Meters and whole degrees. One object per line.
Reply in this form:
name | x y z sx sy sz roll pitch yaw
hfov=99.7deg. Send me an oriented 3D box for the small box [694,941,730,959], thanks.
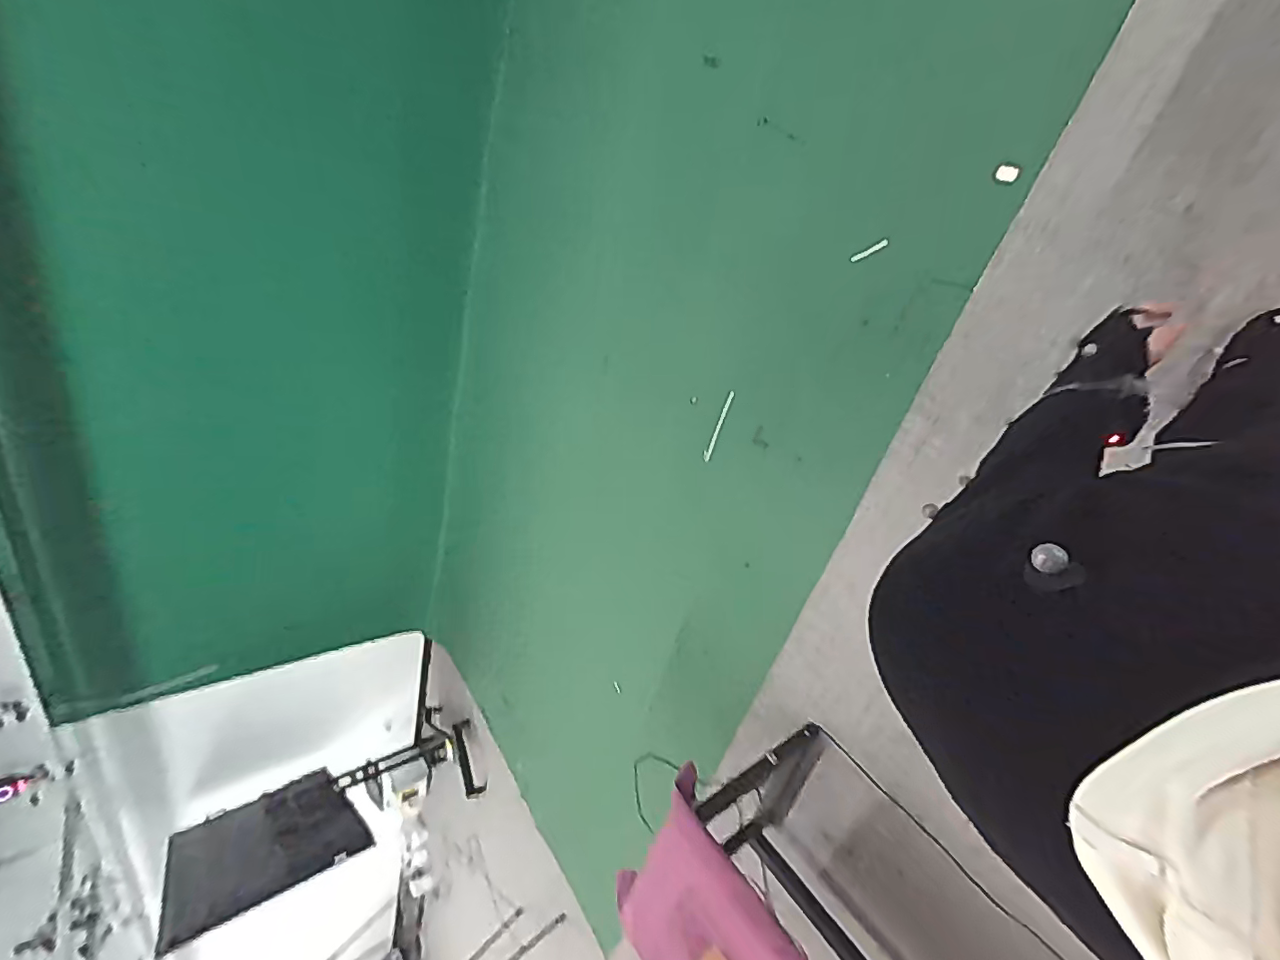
small box | 0.168 1.351 1.386 0.168 0.176 0.179 42 126 37
